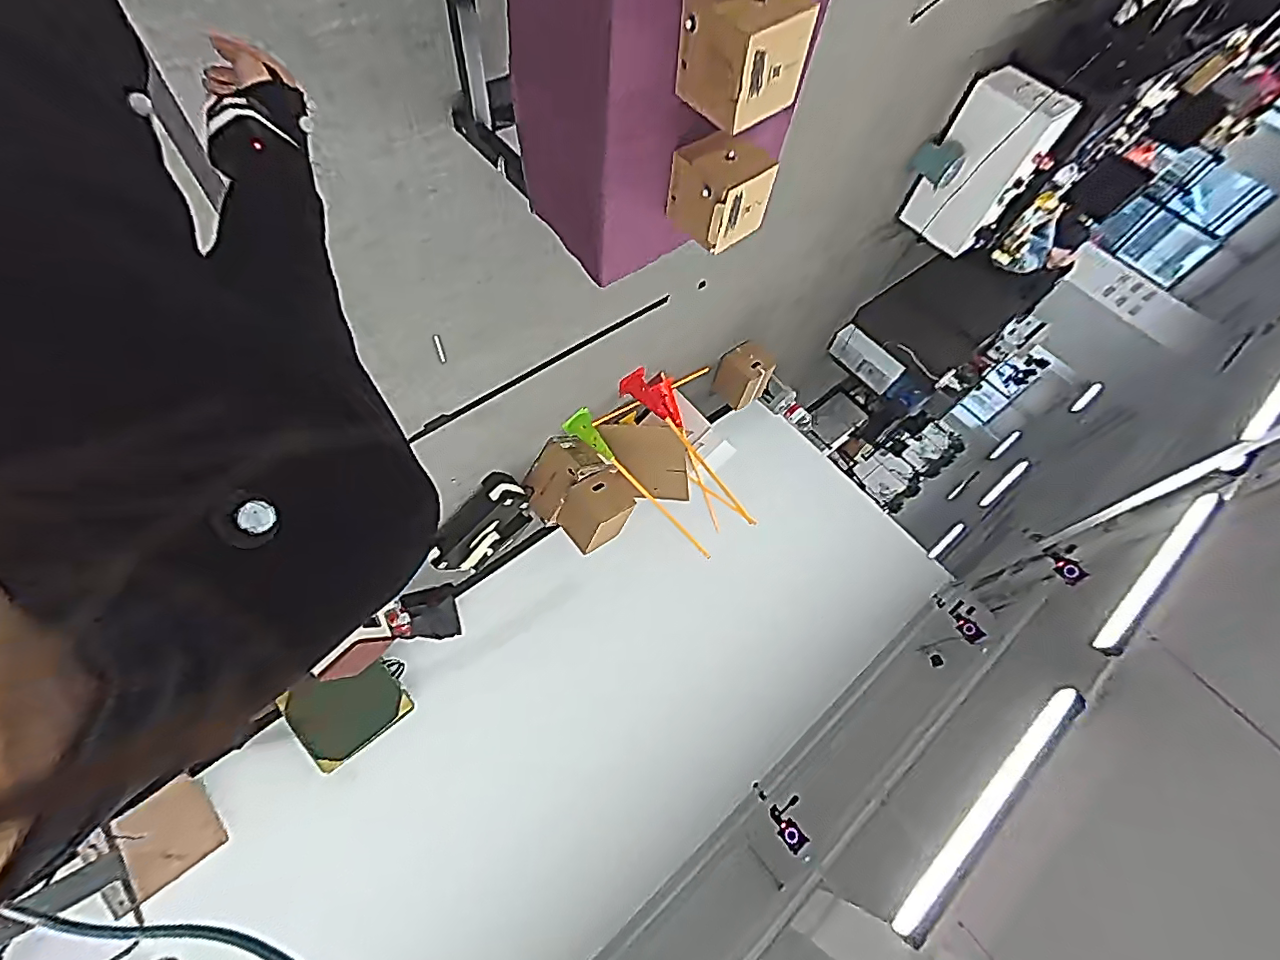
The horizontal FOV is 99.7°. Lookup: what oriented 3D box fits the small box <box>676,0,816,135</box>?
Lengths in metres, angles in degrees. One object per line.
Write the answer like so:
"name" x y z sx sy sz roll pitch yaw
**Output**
"small box" 0.187 -0.796 1.010 0.179 0.176 0.168 -37 162 -17
